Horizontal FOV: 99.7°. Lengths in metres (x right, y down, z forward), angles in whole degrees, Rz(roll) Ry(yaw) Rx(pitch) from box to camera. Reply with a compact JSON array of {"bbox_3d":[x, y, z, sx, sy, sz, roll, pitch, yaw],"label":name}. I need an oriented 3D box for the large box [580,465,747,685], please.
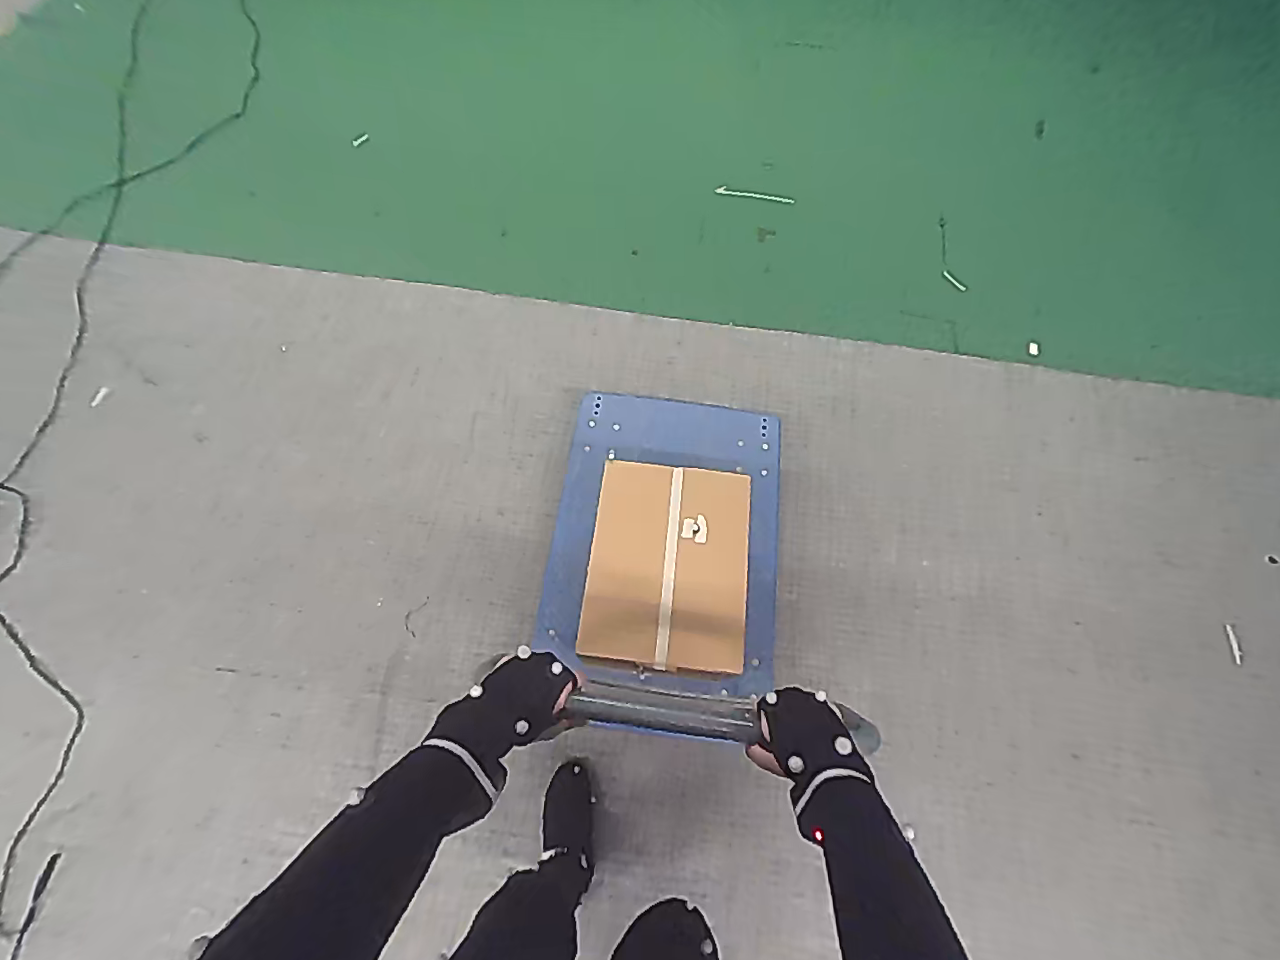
[{"bbox_3d":[0.055,0.224,1.207,0.320,0.320,0.408,6,65,1],"label":"large box"}]
